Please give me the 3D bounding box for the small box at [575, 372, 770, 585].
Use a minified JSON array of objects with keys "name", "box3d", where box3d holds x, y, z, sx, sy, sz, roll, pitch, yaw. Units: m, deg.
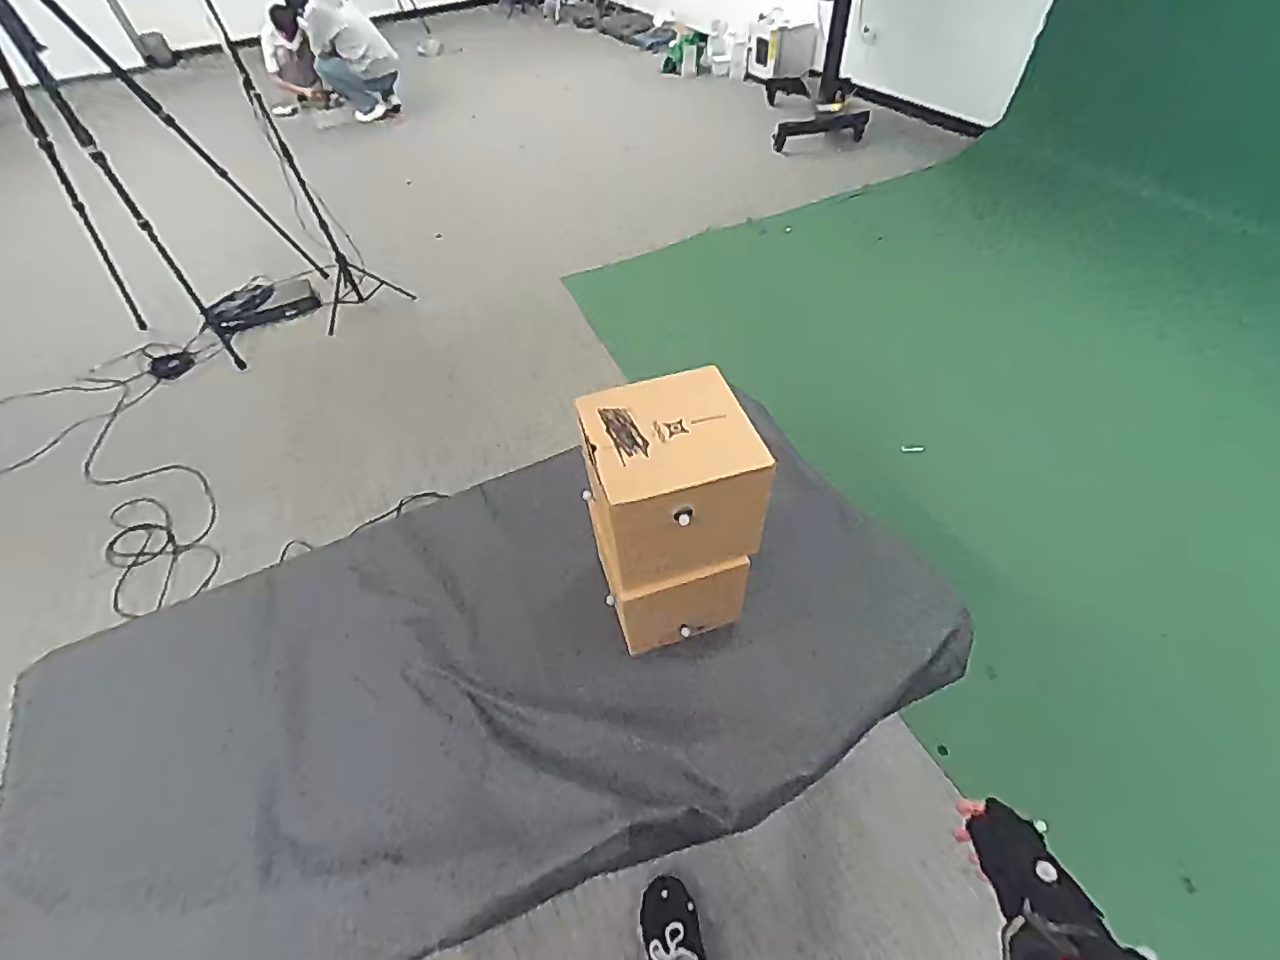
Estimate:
[{"name":"small box","box3d":[0.034,0.002,0.643,0.179,0.176,0.168,-15,51,-8]}]
